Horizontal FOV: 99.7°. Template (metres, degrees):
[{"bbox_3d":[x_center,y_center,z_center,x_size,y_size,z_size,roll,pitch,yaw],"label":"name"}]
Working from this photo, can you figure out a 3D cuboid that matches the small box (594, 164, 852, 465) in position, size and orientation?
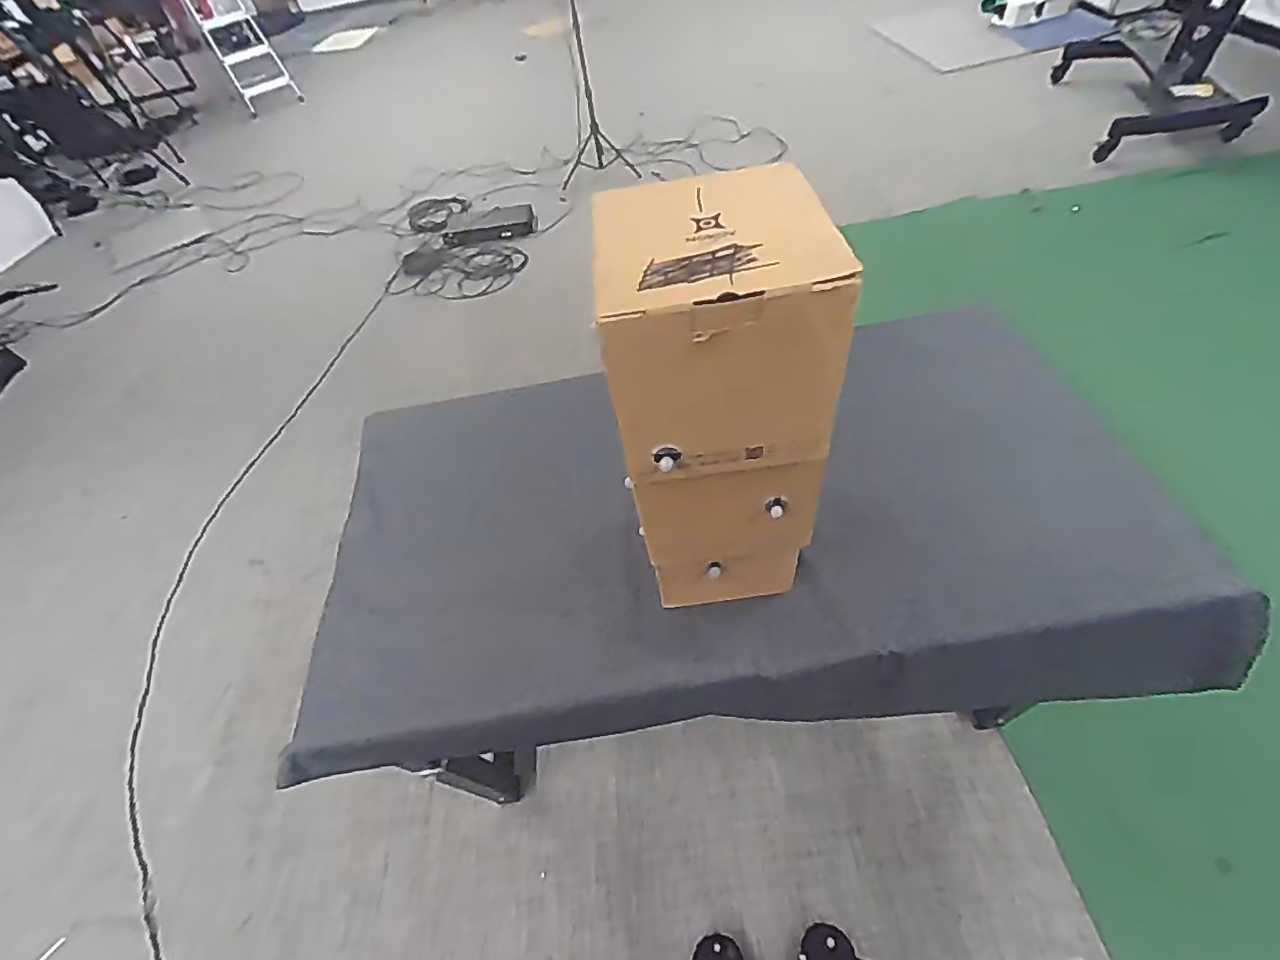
[{"bbox_3d":[0.058,-0.126,0.450,0.168,0.176,0.179,-7,51,3],"label":"small box"}]

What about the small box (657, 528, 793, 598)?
[{"bbox_3d":[0.101,0.043,0.730,0.179,0.176,0.168,-10,51,1],"label":"small box"}]

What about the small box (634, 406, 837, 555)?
[{"bbox_3d":[0.081,-0.041,0.569,0.179,0.176,0.168,-11,52,0],"label":"small box"}]
